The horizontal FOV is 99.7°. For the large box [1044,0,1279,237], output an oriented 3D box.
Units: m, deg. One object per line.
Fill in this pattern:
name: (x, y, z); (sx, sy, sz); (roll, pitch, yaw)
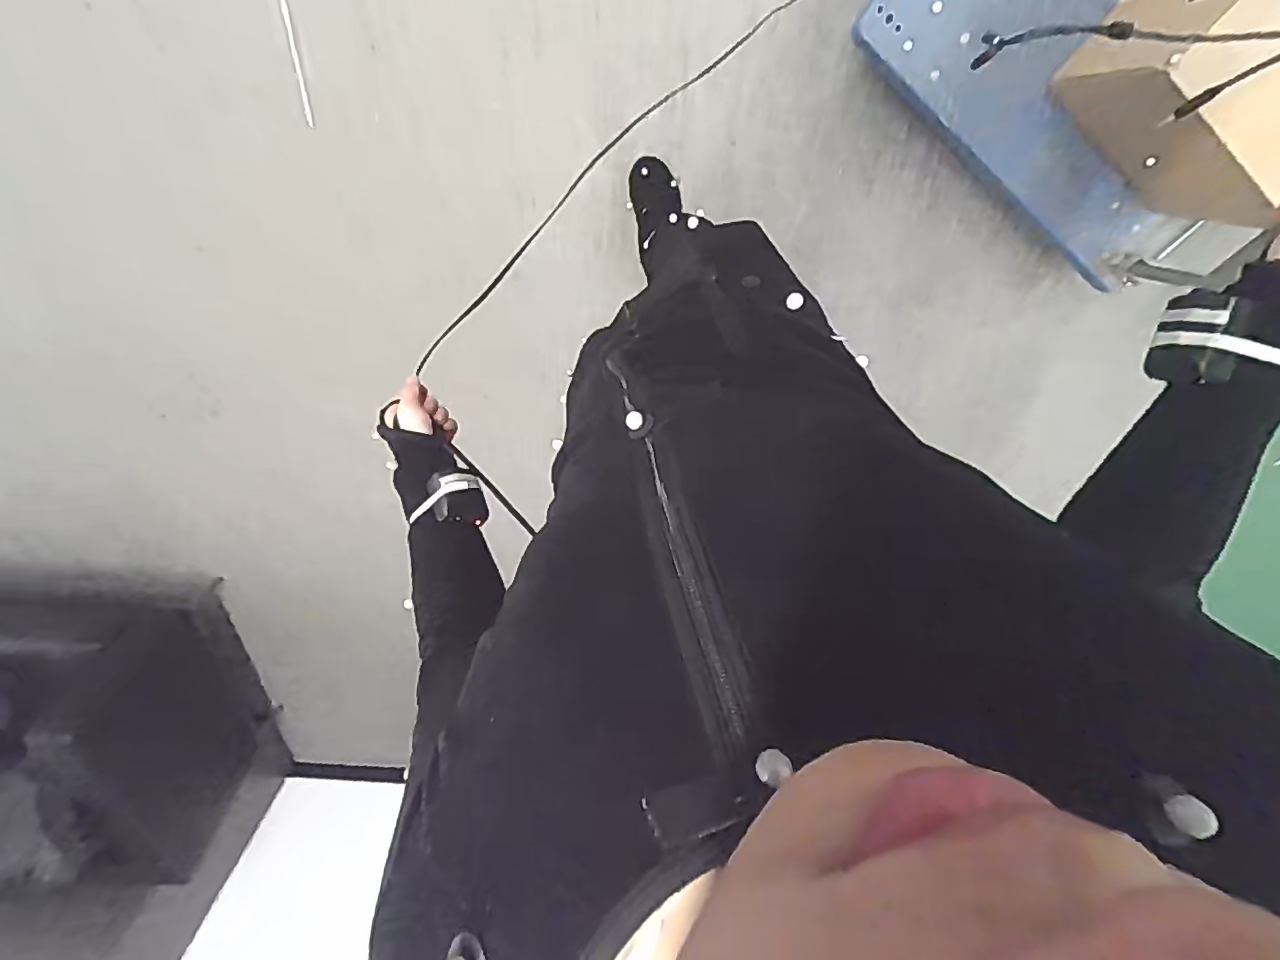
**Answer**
large box: (1.029, -0.683, 0.921); (0.408, 0.320, 0.320); (32, 118, -15)
